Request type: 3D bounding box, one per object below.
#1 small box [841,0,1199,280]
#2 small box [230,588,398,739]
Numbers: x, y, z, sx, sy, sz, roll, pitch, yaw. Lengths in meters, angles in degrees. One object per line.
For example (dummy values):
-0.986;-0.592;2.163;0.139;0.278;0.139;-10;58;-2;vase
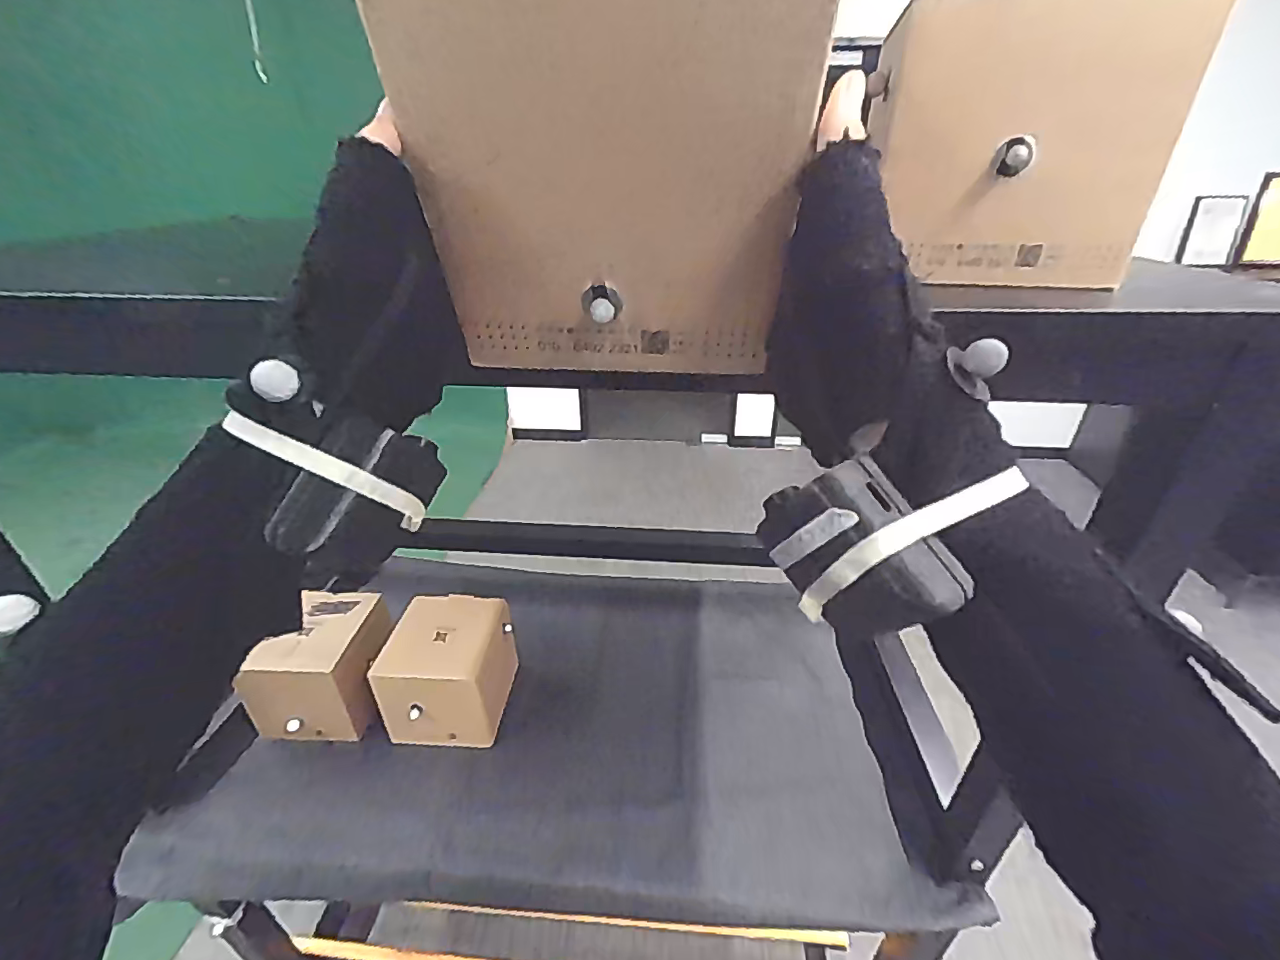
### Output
0.255;-0.254;0.413;0.168;0.176;0.179;7;31;14;small box
-0.534;0.307;0.918;0.168;0.176;0.179;1;30;2;small box
